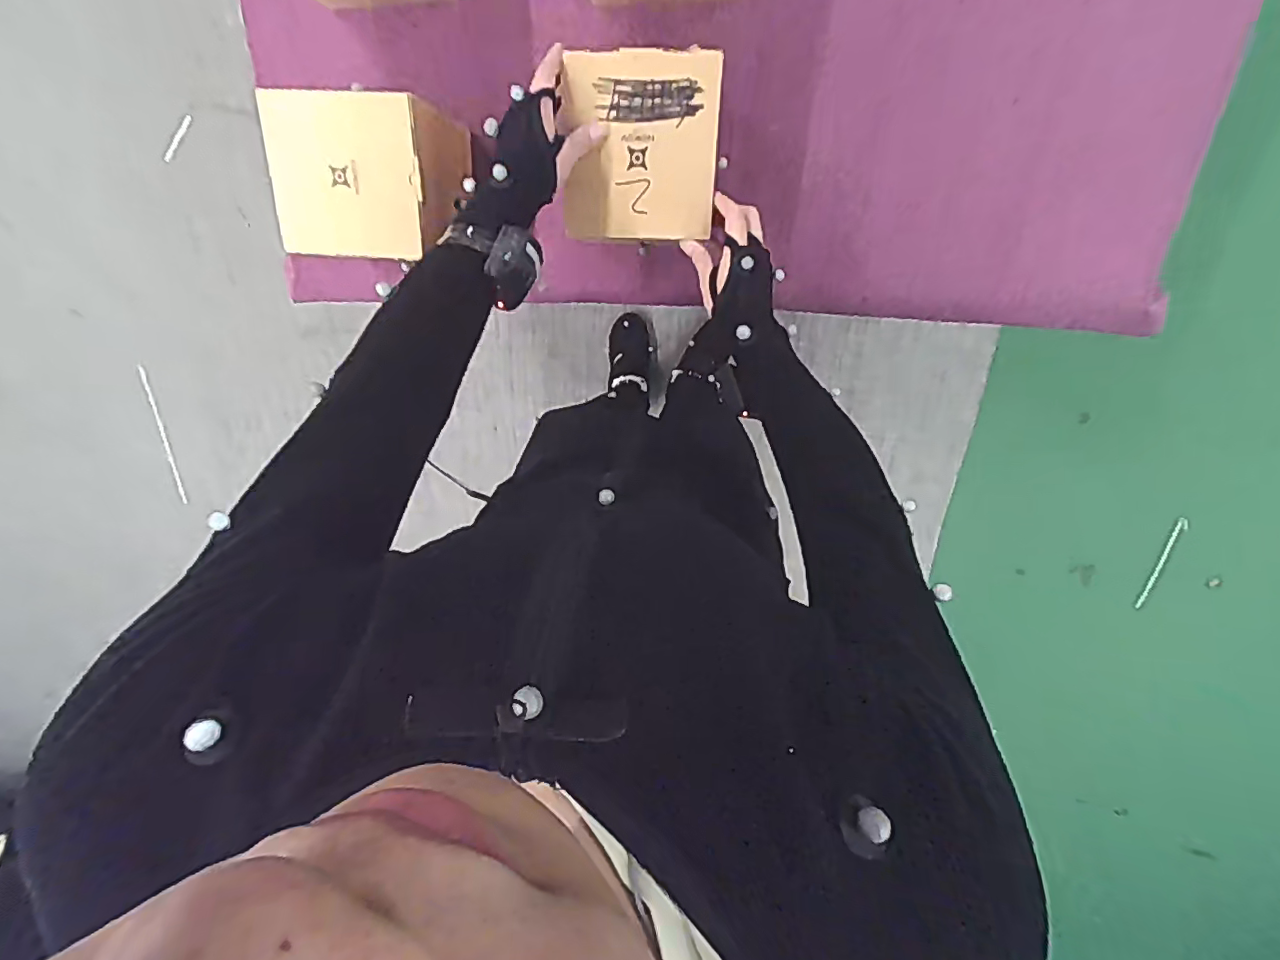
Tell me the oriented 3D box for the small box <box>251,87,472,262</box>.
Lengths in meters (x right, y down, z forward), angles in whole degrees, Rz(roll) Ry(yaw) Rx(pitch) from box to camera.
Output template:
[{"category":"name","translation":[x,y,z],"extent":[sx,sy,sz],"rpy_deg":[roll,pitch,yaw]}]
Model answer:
[{"category":"small box","translation":[-0.328,-0.366,0.674],"extent":[0.179,0.176,0.168],"rpy_deg":[4,111,3]}]

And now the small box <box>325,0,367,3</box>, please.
[{"category":"small box","translation":[-0.320,-0.633,0.561],"extent":[0.179,0.176,0.168],"rpy_deg":[1,113,5]}]
